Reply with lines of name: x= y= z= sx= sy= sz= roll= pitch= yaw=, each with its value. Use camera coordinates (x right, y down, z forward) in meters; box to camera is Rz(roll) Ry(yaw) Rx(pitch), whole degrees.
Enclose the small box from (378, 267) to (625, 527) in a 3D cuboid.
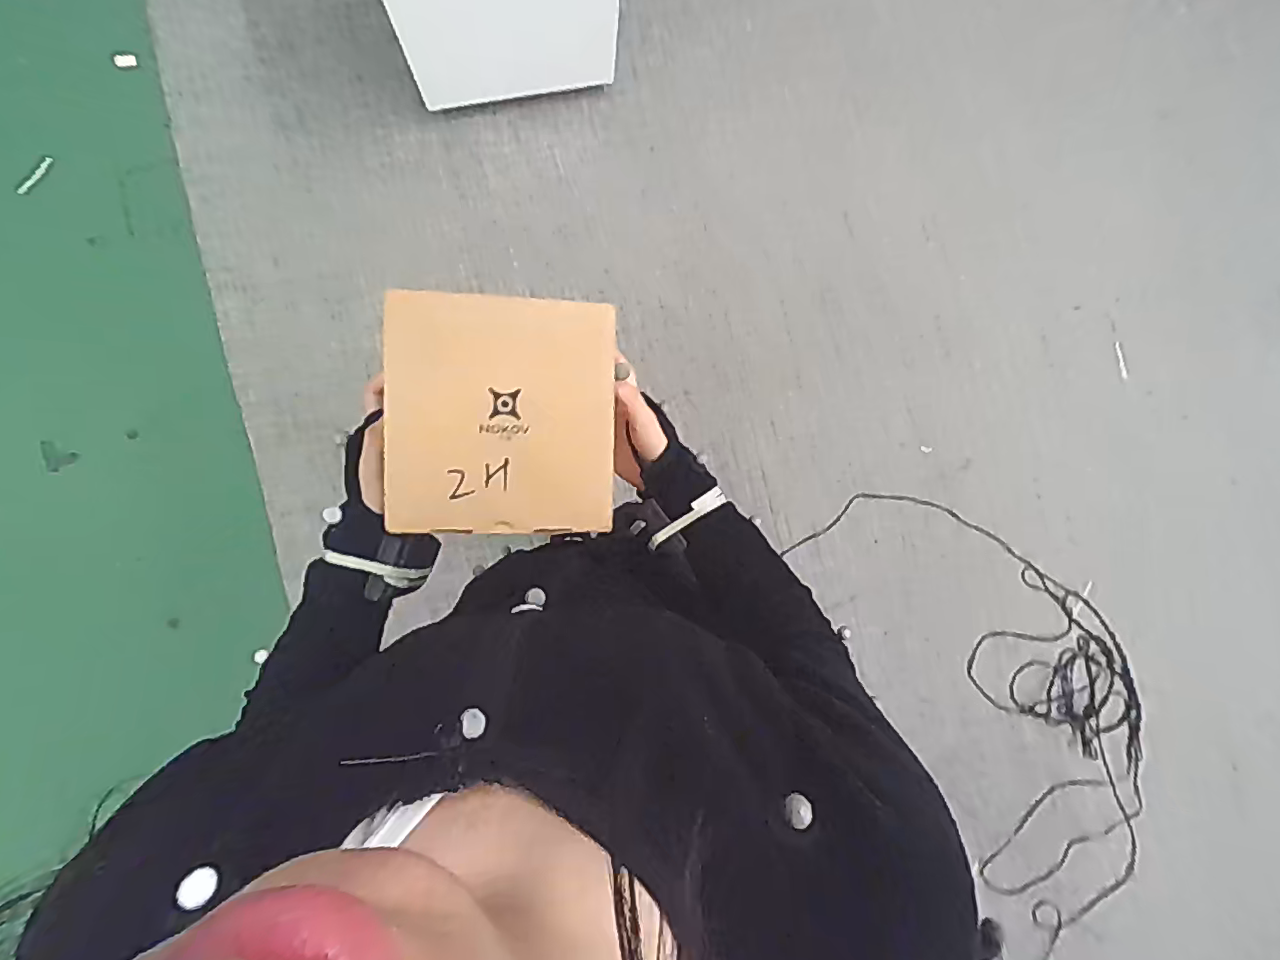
small box: x=-0.110 y=-0.057 z=0.459 sx=0.168 sy=0.176 sz=0.179 roll=2 pitch=92 yaw=-10
